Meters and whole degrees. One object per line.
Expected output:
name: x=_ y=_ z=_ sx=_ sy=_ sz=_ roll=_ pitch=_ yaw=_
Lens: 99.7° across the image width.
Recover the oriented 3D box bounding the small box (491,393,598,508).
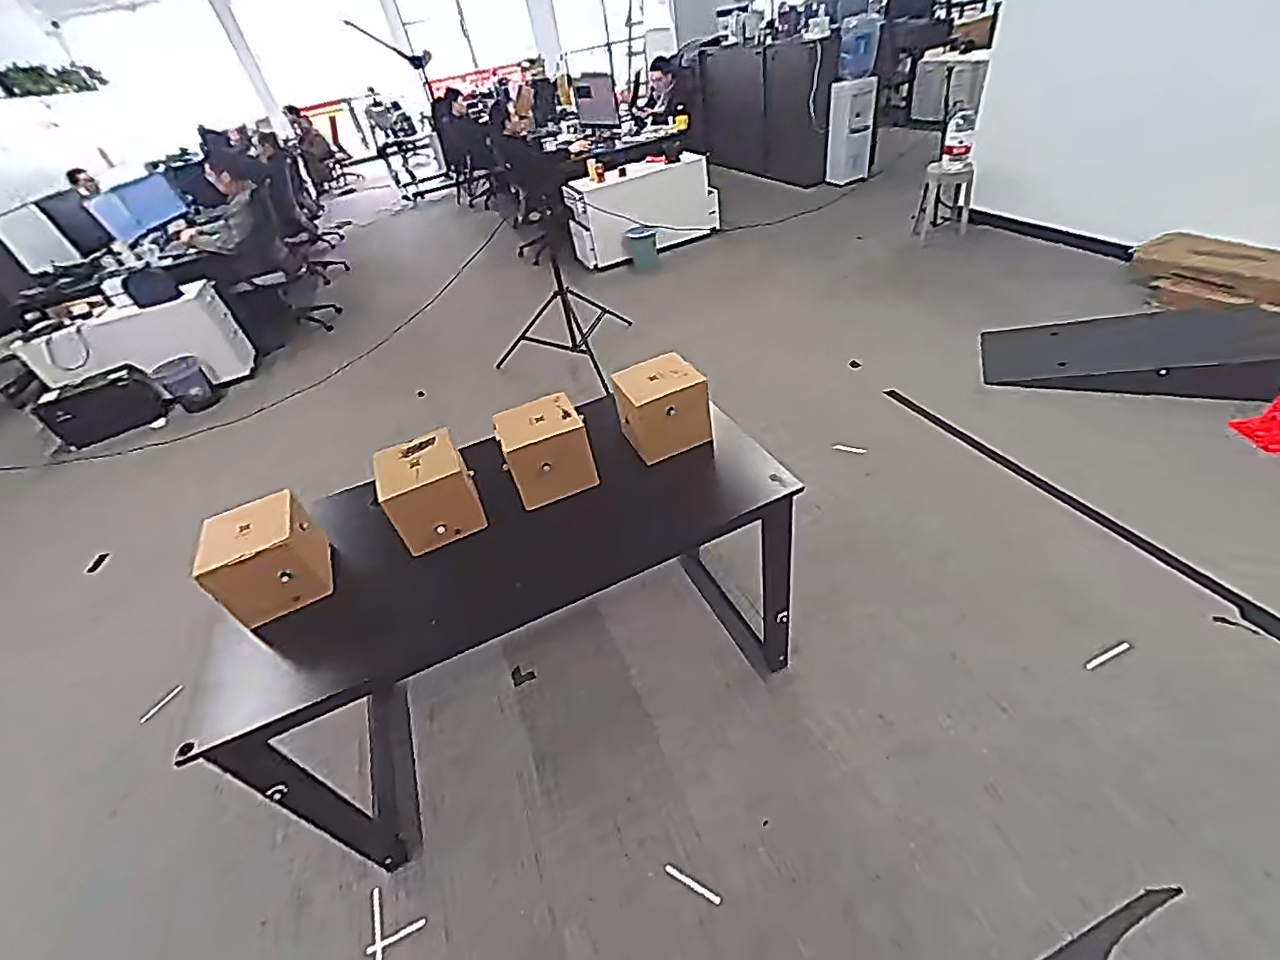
small box: x=-0.212 y=-0.064 z=1.215 sx=0.179 sy=0.176 sz=0.168 roll=-22 pitch=41 yaw=-11

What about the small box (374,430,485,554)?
small box: x=-0.451 y=0.026 z=1.165 sx=0.168 sy=0.176 sz=0.179 roll=-23 pitch=42 yaw=-13

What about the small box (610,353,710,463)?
small box: x=0.051 y=-0.167 z=1.269 sx=0.179 sy=0.176 sz=0.168 roll=-22 pitch=42 yaw=-11

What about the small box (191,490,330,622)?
small box: x=-0.745 y=0.158 z=1.082 sx=0.168 sy=0.176 sz=0.179 roll=-24 pitch=41 yaw=-16
